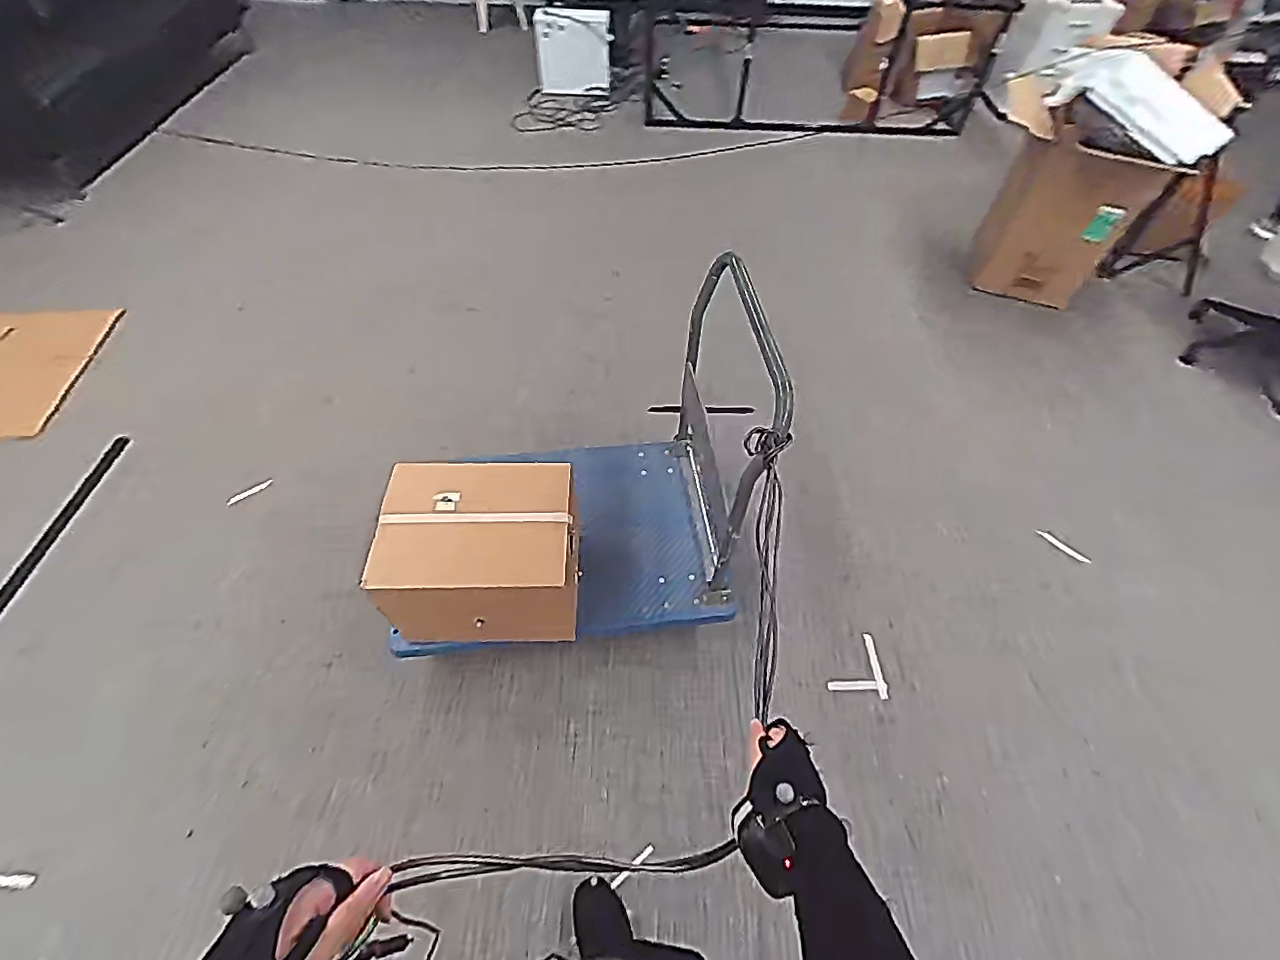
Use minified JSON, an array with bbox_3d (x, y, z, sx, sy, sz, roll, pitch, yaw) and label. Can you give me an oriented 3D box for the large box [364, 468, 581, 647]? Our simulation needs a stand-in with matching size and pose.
[{"bbox_3d":[-0.348,0.189,1.267,0.408,0.320,0.320,-1,53,-2],"label":"large box"}]
